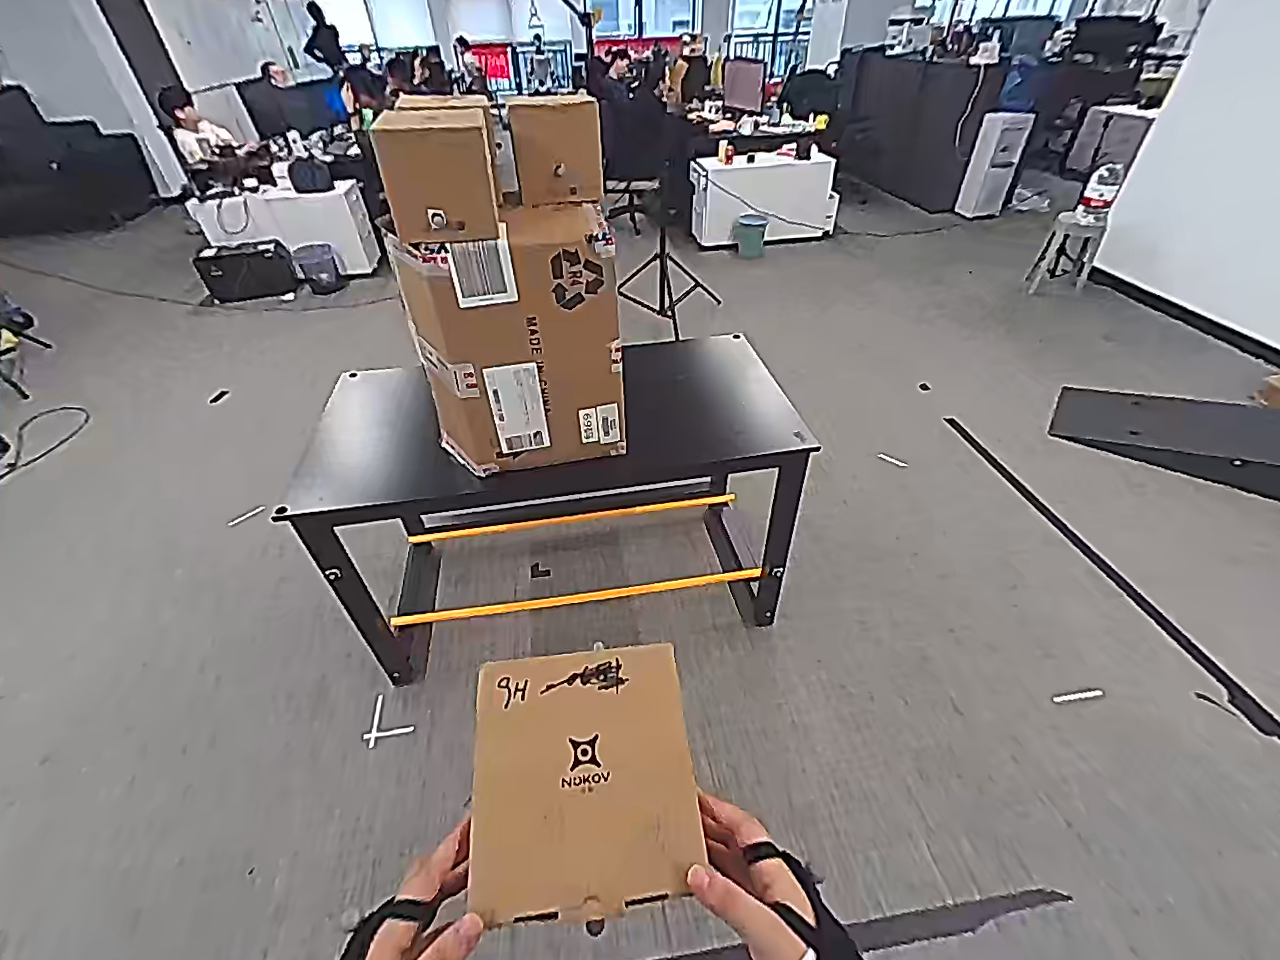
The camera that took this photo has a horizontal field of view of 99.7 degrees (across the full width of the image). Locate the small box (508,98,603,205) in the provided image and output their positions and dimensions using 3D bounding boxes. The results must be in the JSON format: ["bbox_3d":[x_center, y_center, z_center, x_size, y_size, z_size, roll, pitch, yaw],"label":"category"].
[{"bbox_3d":[-0.172,-0.668,1.100,0.168,0.176,0.179,-9,39,-9],"label":"small box"}]

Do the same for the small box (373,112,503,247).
[{"bbox_3d":[-0.330,-0.509,0.916,0.168,0.176,0.179,-9,43,-10],"label":"small box"}]
